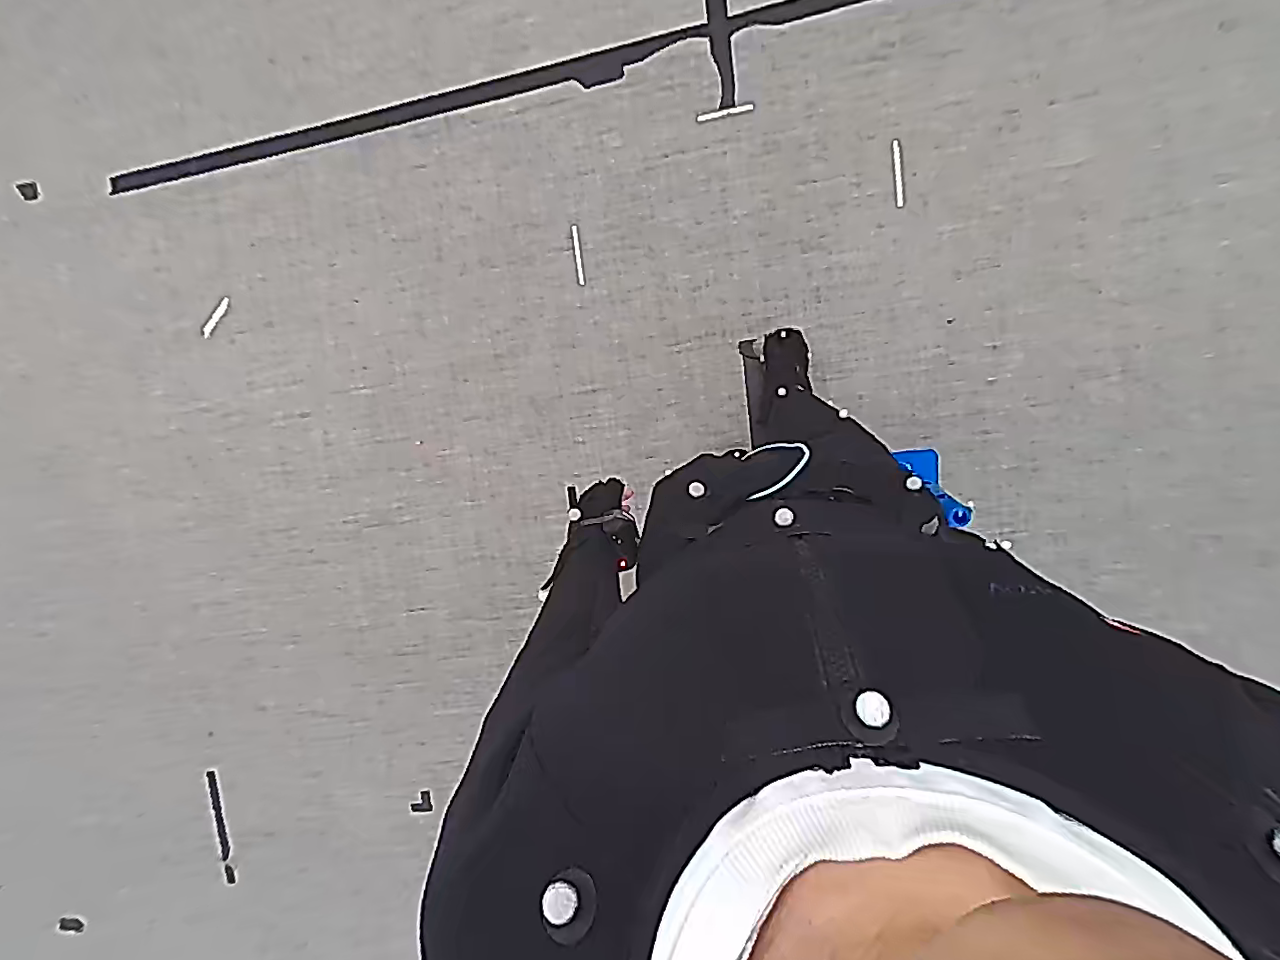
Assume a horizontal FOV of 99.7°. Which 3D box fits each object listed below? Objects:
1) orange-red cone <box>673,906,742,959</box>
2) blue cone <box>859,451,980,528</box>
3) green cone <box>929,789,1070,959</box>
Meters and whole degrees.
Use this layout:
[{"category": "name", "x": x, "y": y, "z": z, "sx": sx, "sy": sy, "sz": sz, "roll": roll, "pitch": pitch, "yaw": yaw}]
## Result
[{"category": "orange-red cone", "x": 0.171, "y": 1.350, "z": 1.400, "sx": 0.199, "sy": 0.360, "sz": 0.198, "roll": -2, "pitch": 95, "yaw": 9}, {"category": "blue cone", "x": 0.635, "y": 0.044, "z": 1.205, "sx": 0.192, "sy": 0.380, "sz": 0.193, "roll": -3, "pitch": 96, "yaw": 7}, {"category": "green cone", "x": 0.857, "y": 0.934, "z": 1.261, "sx": 0.202, "sy": 0.368, "sz": 0.200, "roll": -6, "pitch": 95, "yaw": 7}]
